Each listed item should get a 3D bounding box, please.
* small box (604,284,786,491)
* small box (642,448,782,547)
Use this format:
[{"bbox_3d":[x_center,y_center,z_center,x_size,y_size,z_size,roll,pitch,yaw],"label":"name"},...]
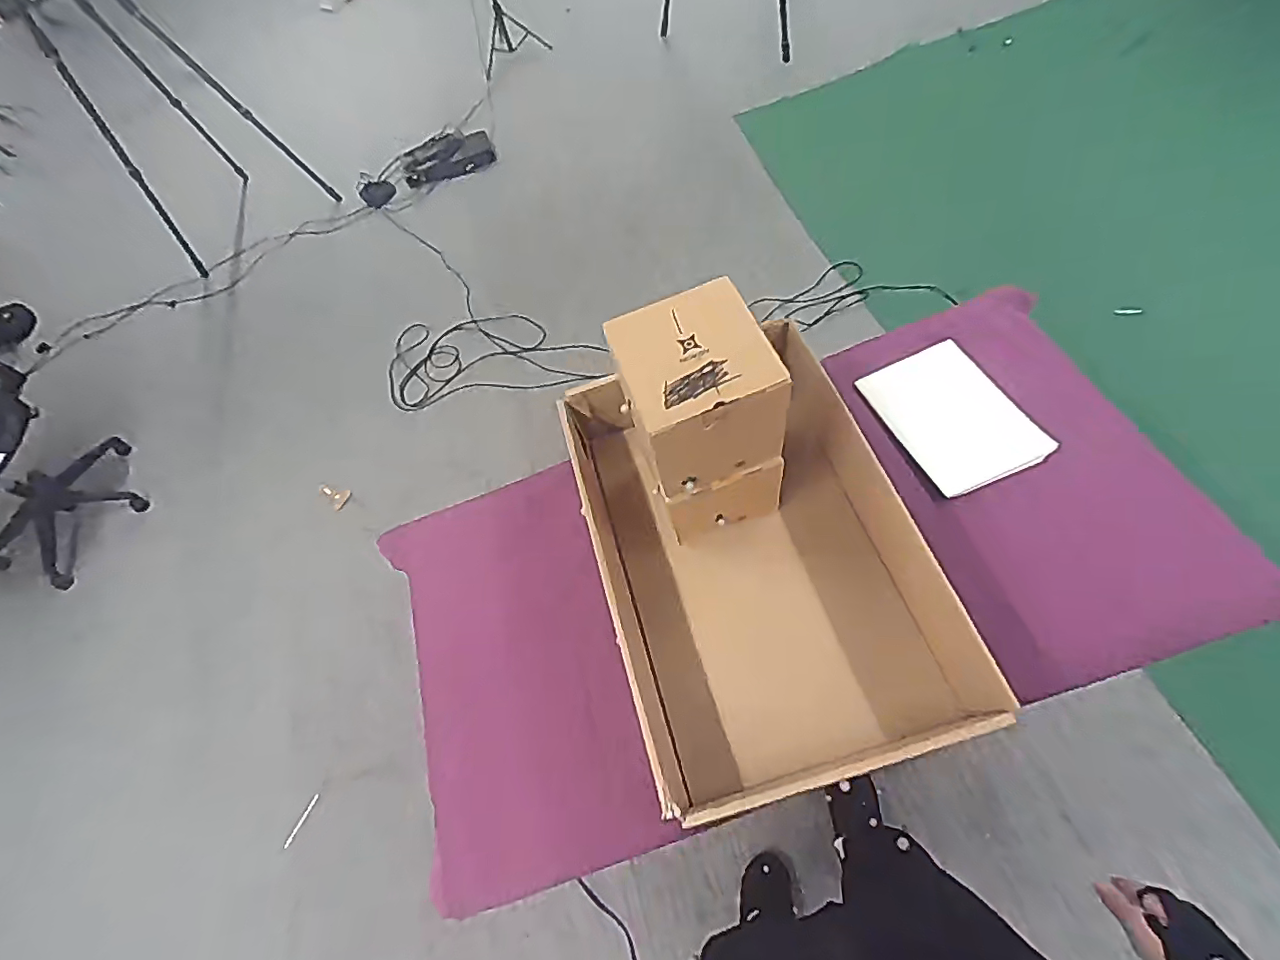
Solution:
[{"bbox_3d":[0.070,-0.105,0.687,0.168,0.176,0.179,-21,60,-1],"label":"small box"},{"bbox_3d":[0.100,-0.023,0.827,0.168,0.176,0.179,-20,62,-1],"label":"small box"}]
